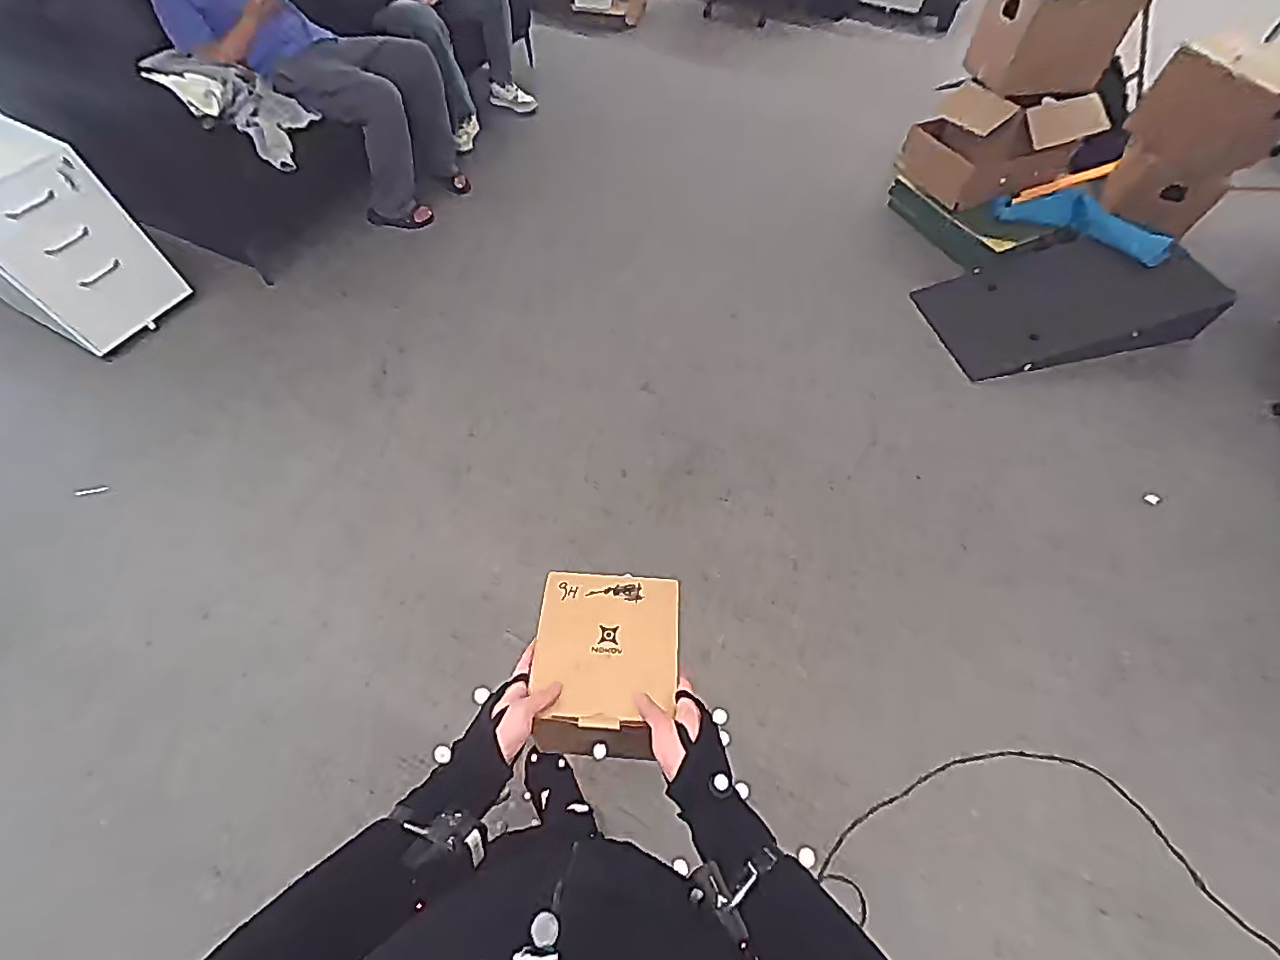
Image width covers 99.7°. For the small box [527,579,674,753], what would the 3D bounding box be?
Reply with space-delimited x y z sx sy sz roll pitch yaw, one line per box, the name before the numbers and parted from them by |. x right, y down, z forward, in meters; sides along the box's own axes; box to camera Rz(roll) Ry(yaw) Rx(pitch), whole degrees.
small box | -0.042 0.244 0.699 0.168 0.176 0.179 2 53 -1
